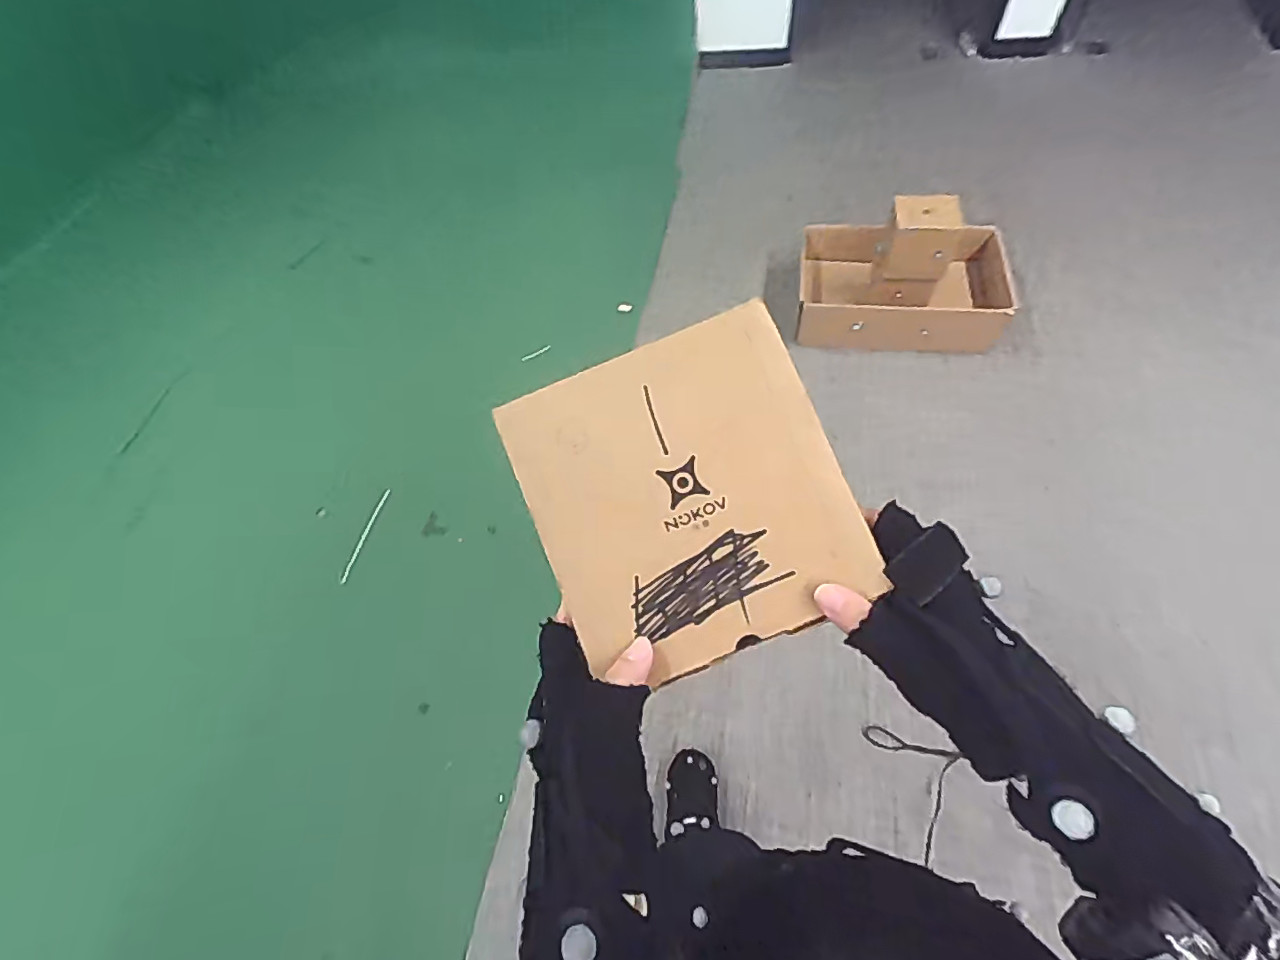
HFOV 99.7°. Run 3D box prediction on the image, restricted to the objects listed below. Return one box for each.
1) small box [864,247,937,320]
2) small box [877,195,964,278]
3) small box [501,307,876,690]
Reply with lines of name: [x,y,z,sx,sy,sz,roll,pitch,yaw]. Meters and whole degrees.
small box: [0.843,-0.642,1.772,0.179,0.176,0.168,4,58,9]
small box: [0.825,-0.720,1.608,0.179,0.176,0.168,2,59,8]
small box: [0.029,0.015,0.381,0.168,0.176,0.179,-22,84,1]
